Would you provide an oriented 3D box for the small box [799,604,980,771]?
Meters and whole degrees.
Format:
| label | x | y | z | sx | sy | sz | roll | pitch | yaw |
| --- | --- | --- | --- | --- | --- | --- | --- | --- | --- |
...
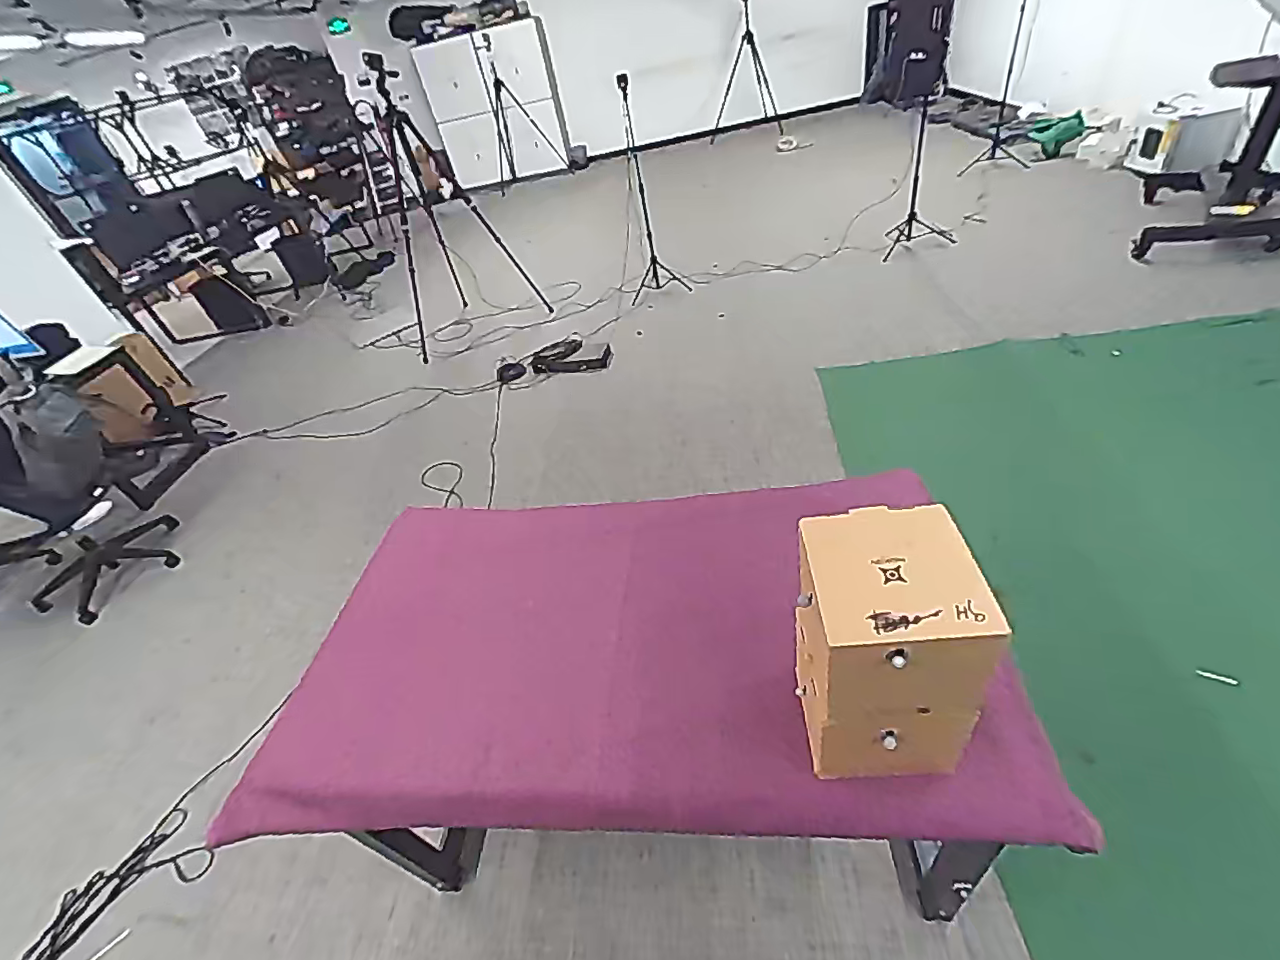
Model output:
| label | x | y | z | sx | sy | sz | roll | pitch | yaw |
| --- | --- | --- | --- | --- | --- | --- | --- | --- | --- |
| small box | 0.319 | 0.275 | 0.729 | 0.179 | 0.176 | 0.168 | -9 | 41 | 11 |

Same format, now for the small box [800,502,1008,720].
| label | x | y | z | sx | sy | sz | roll | pitch | yaw |
| --- | --- | --- | --- | --- | --- | --- | --- | --- | --- |
| small box | 0.284 | 0.152 | 0.626 | 0.168 | 0.176 | 0.179 | -9 | 40 | 12 |
